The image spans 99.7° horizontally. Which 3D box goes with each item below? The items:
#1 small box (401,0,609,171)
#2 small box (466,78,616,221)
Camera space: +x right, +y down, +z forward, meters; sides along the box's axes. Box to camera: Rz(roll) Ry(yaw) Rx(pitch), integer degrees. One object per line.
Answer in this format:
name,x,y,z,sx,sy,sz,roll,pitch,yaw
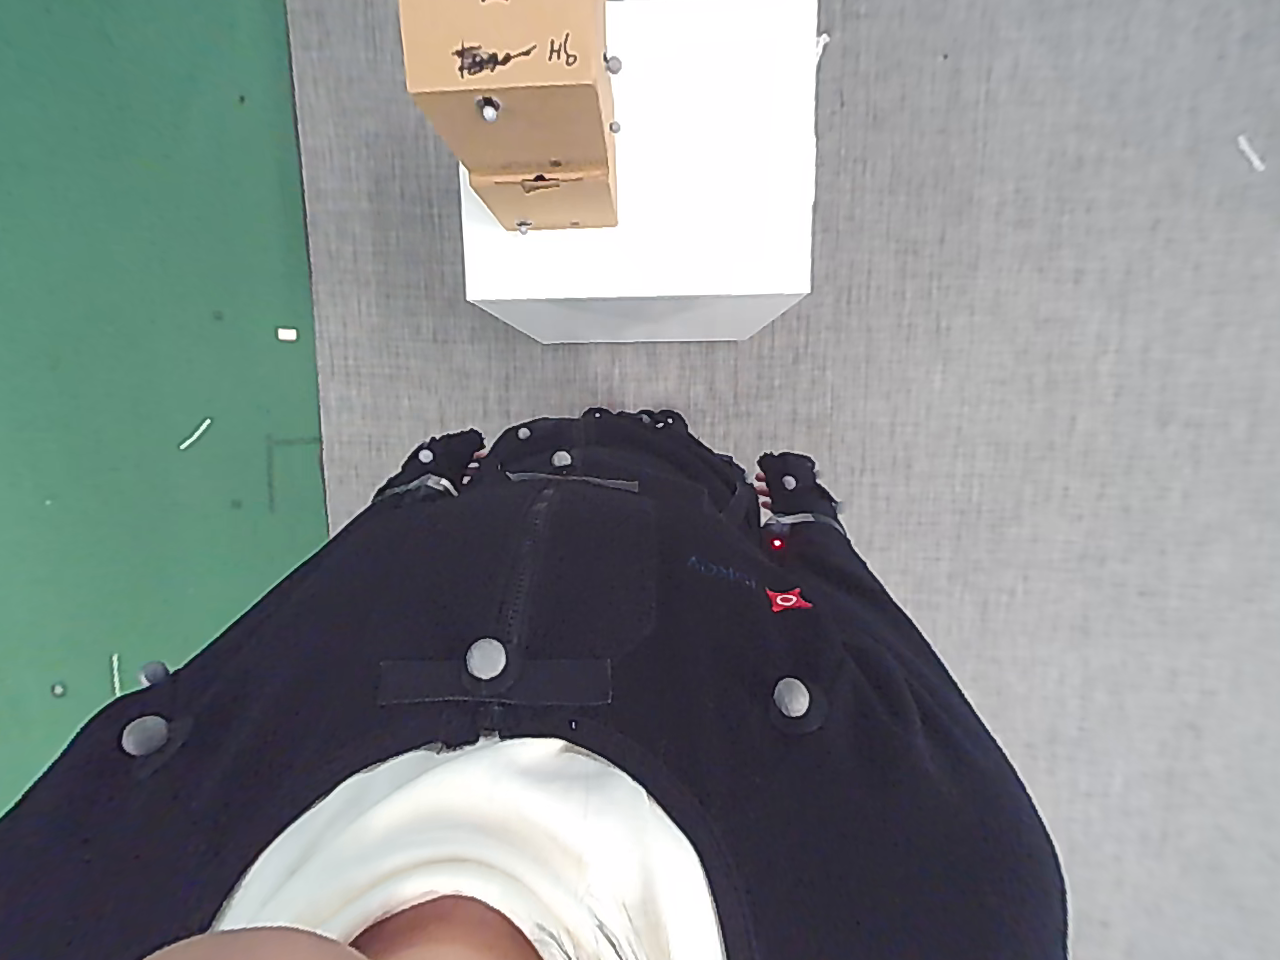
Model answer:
small box,-0.120,-0.436,0.534,0.168,0.176,0.179,-1,97,2
small box,-0.119,-0.447,0.697,0.168,0.176,0.179,-1,97,1
